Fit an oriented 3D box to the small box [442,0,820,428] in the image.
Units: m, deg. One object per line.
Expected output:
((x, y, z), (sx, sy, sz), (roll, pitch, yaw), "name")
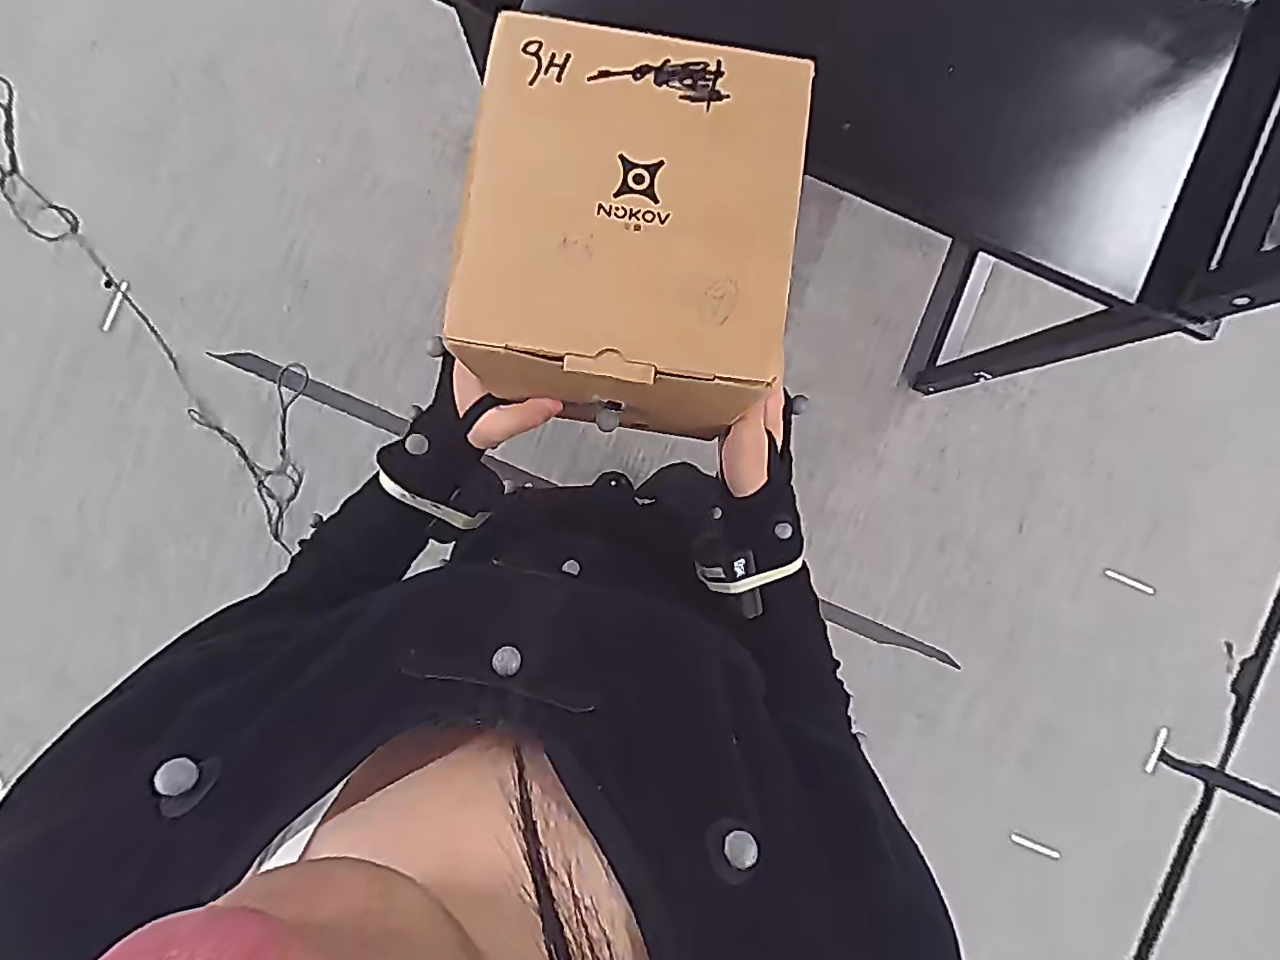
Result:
((-0.006, -0.134, 0.340), (0.168, 0.176, 0.179), (8, 87, -3), "small box")
